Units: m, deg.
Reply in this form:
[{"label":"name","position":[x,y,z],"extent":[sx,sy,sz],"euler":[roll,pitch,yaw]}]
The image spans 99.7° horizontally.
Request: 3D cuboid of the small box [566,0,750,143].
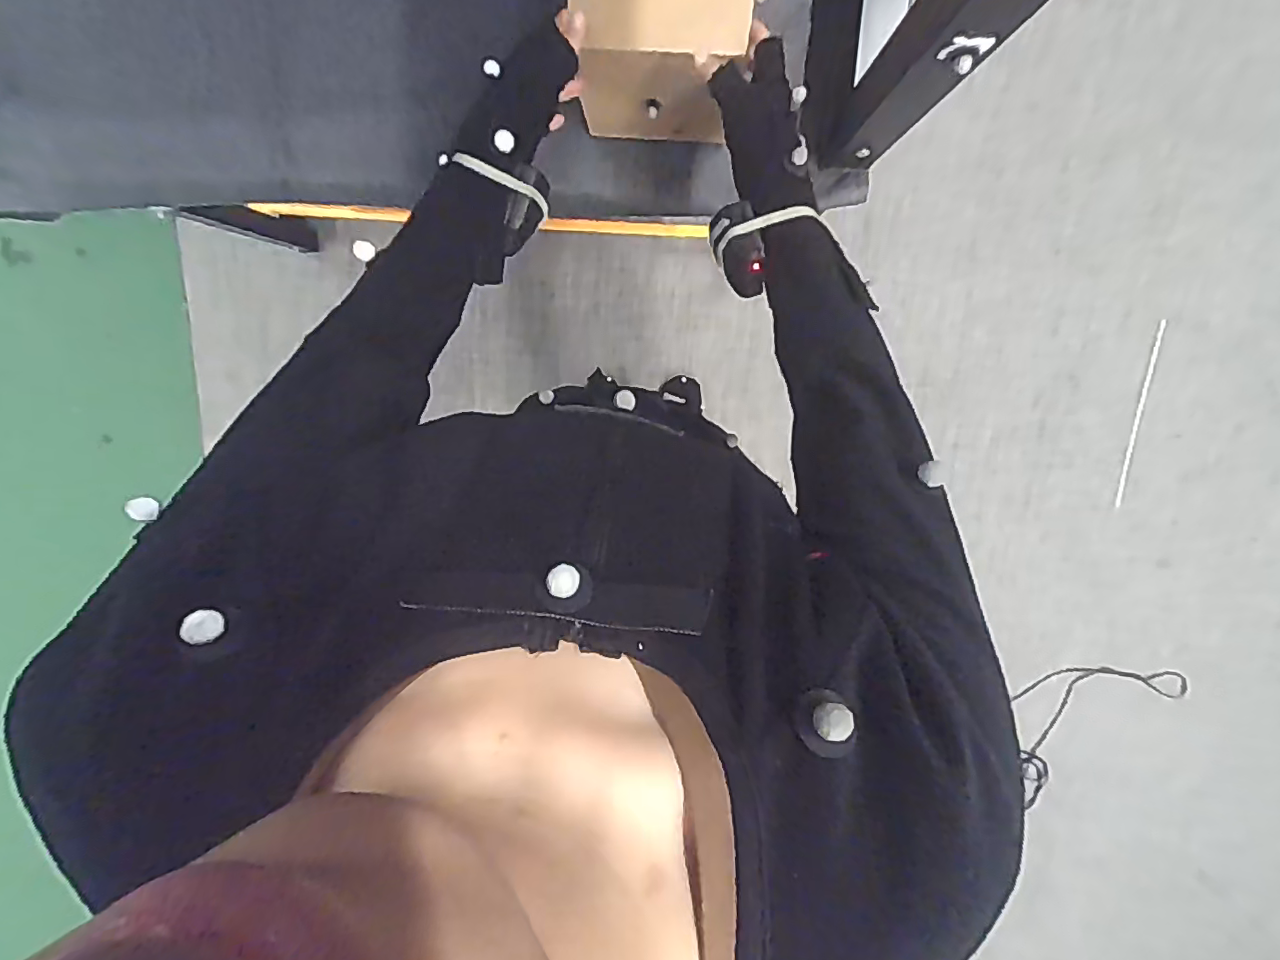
[{"label":"small box","position":[0.025,-0.476,0.553],"extent":[0.168,0.176,0.179],"euler":[5,98,2]}]
